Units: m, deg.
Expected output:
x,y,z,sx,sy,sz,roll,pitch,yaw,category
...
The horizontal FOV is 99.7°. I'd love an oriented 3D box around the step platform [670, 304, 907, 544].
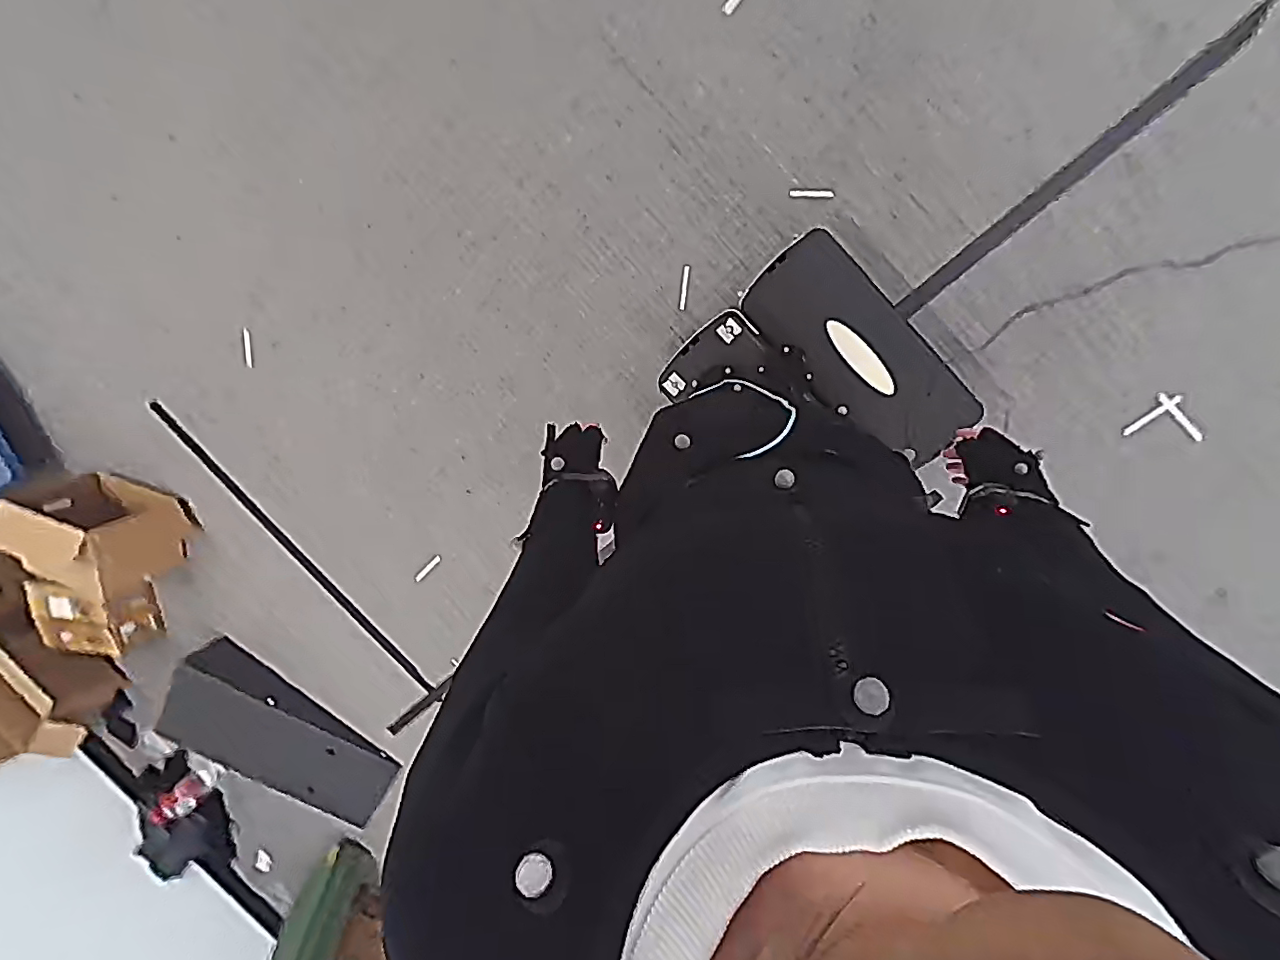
x,y,z,sx,sy,sz,roll,pitch,yaw,category
0.397,-0.150,1.482,0.684,0.204,0.286,46,110,-1,step platform
